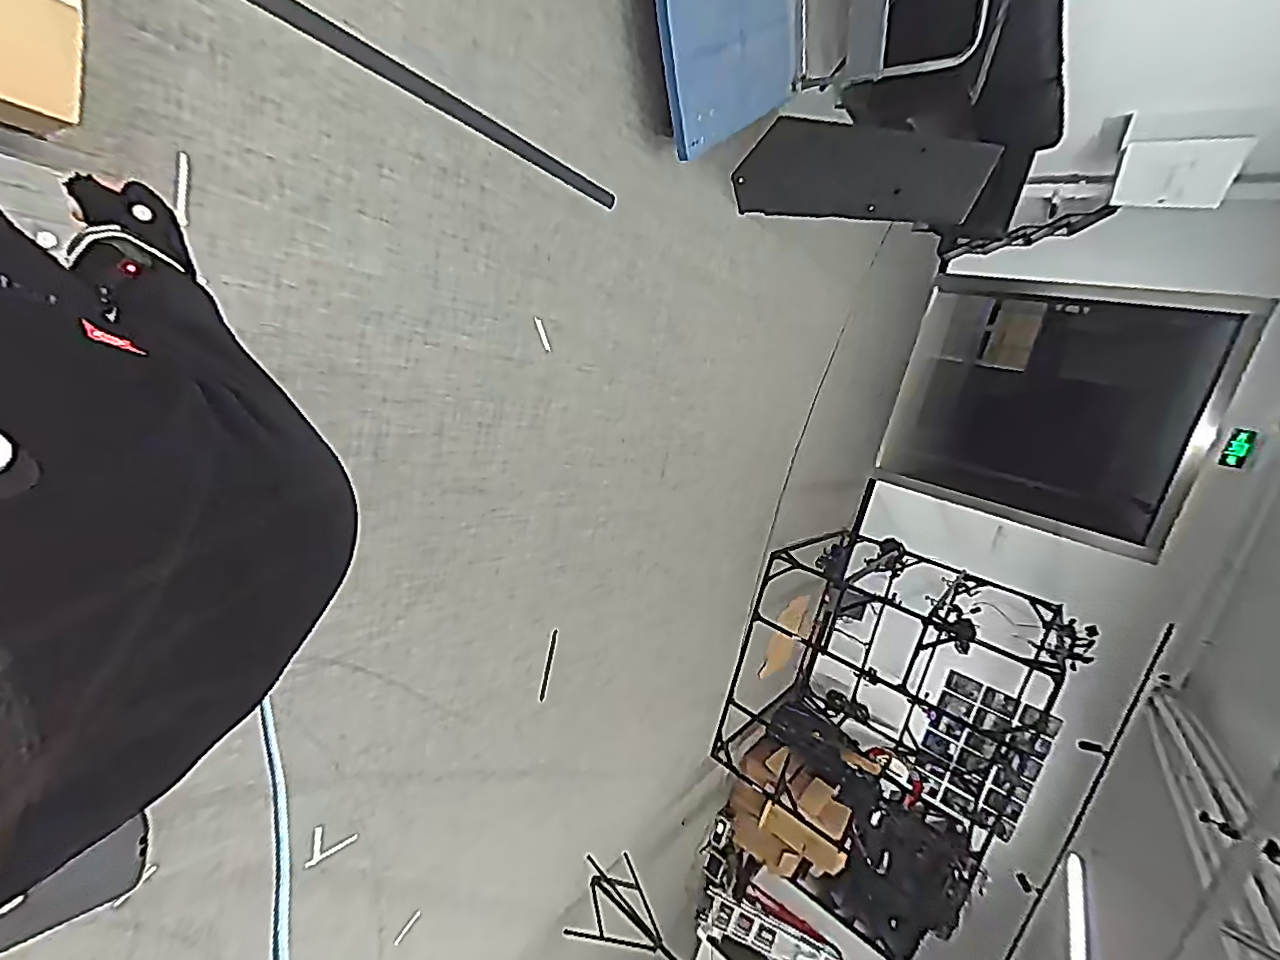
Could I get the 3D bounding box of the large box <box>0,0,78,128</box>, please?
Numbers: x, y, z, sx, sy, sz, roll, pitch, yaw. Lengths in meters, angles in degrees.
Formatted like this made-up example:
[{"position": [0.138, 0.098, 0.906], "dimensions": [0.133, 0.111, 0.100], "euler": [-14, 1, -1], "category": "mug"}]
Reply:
[{"position": [-1.010, -0.699, 0.665], "dimensions": [0.408, 0.320, 0.320], "euler": [-3, 111, -55], "category": "large box"}]
